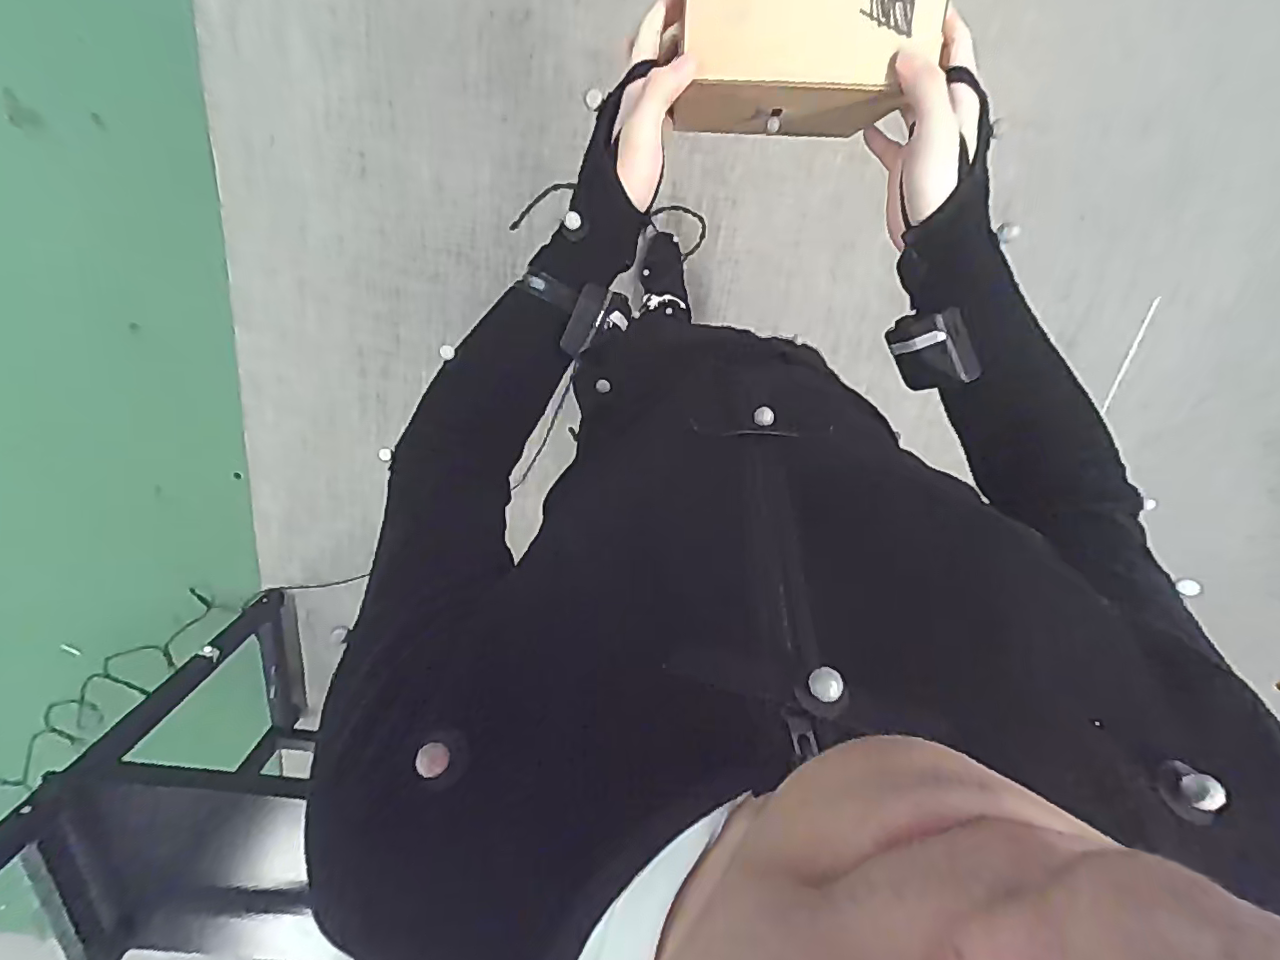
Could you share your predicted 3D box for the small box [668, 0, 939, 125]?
[{"bbox_3d":[0.115,-0.388,0.417,0.179,0.176,0.168,2,113,1],"label":"small box"}]
